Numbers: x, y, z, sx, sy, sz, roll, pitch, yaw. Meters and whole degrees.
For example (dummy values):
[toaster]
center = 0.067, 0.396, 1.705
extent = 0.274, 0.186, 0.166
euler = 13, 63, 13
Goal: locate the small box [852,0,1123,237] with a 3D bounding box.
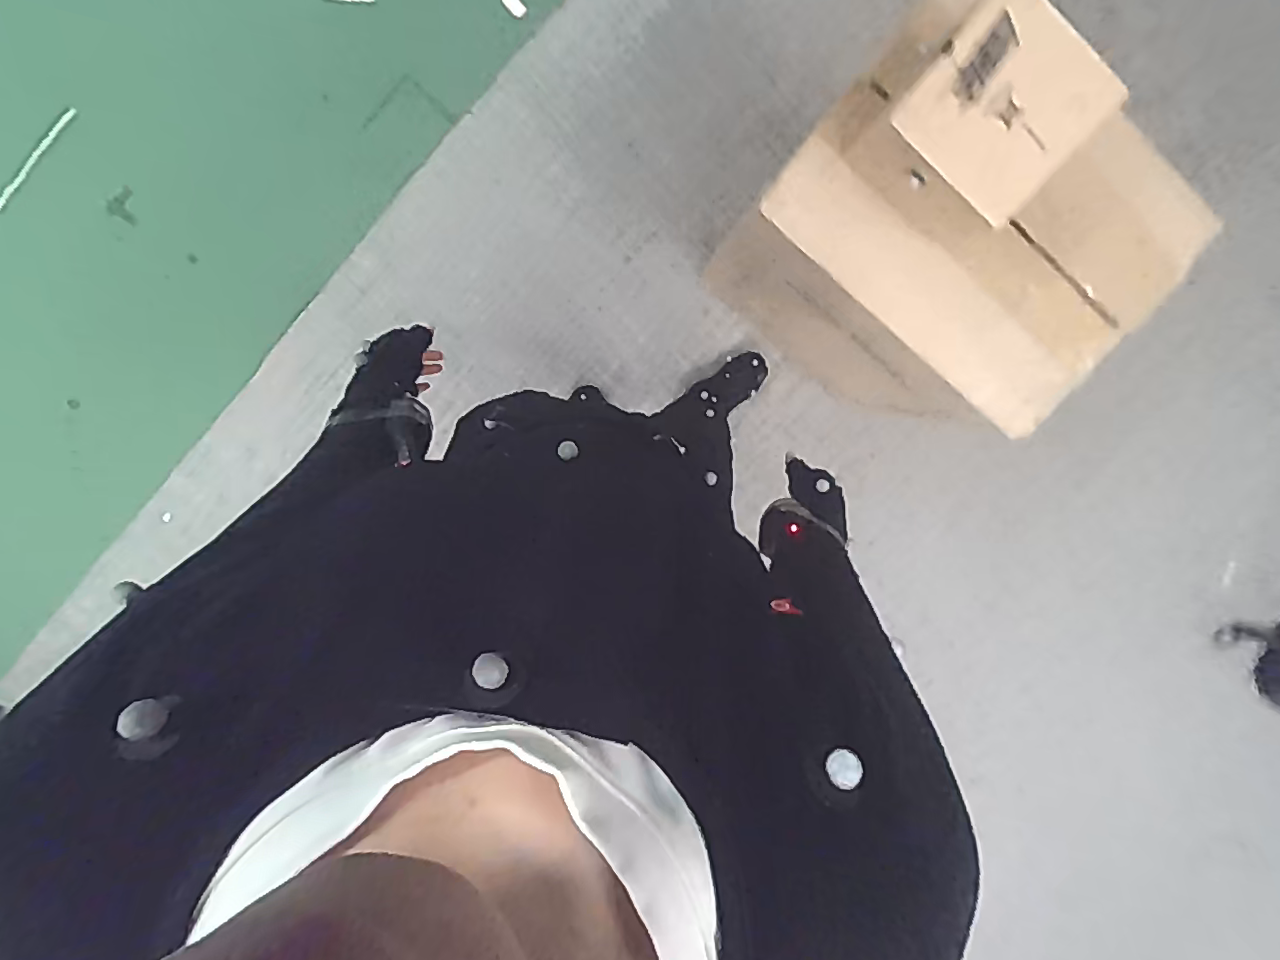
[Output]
[small box]
center = 0.385, -0.412, 0.639
extent = 0.179, 0.176, 0.168
euler = 38, 108, -9
